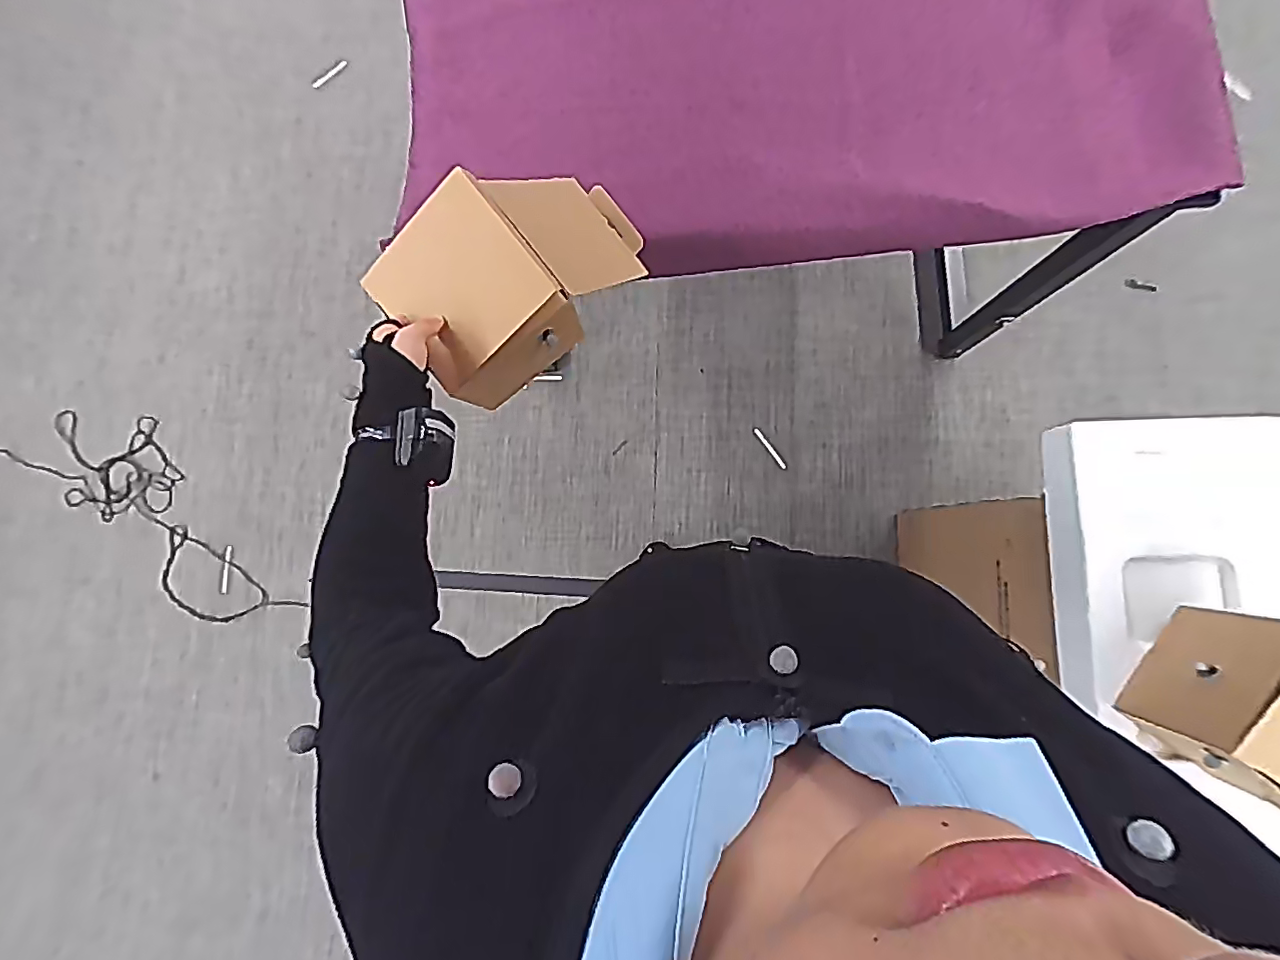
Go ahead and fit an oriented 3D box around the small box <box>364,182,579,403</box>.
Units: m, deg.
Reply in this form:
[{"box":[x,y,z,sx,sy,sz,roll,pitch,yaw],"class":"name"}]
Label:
[{"box":[-0.191,-0.217,0.678,0.179,0.176,0.168,-38,90,2],"class":"small box"}]
